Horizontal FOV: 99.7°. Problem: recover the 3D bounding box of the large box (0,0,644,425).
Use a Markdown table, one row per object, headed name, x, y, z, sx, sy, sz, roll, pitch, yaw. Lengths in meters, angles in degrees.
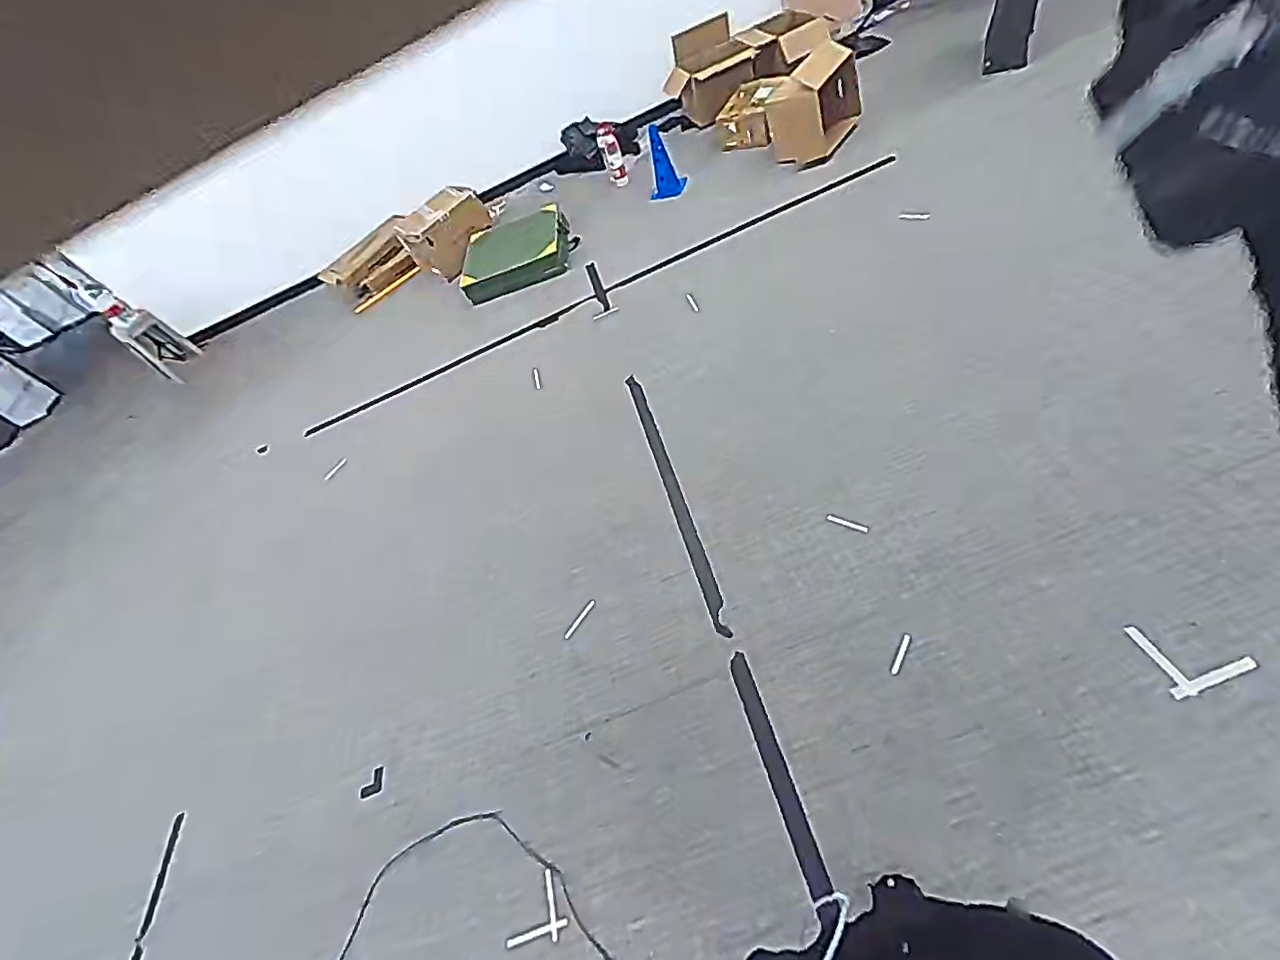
| name | x | y | z | sx | sy | sz | roll | pitch | yaw |
| --- | --- | --- | --- | --- | --- | --- | --- | --- | --- |
| large box | -0.100 | -0.236 | 0.037 | 0.408 | 0.320 | 0.320 | -42 | 22 | -12 |
